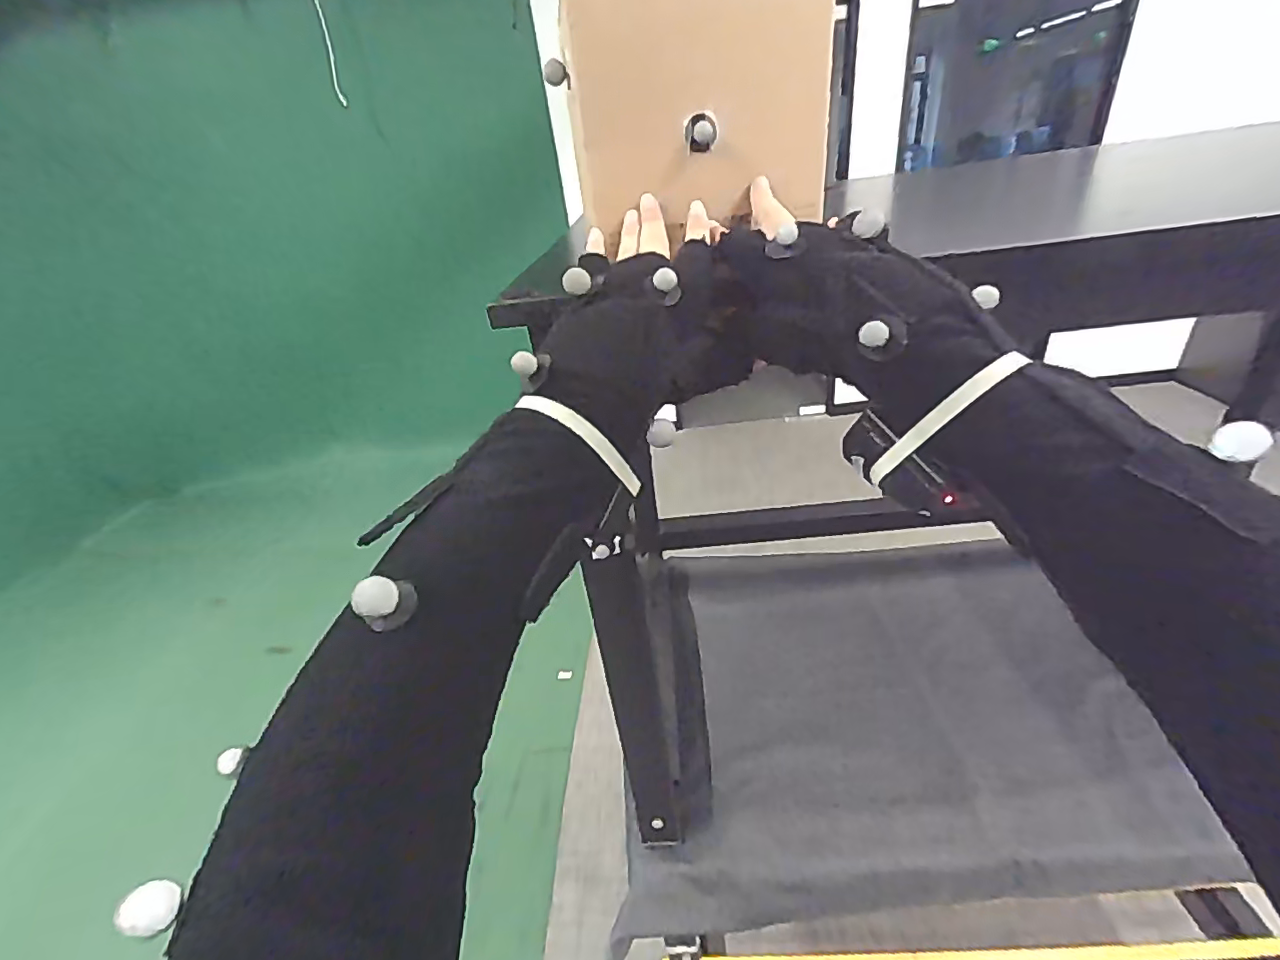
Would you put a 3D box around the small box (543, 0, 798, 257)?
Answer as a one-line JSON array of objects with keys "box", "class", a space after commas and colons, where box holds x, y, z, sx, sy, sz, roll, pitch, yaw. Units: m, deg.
[{"box": [0.022, -0.284, 0.436, 0.168, 0.176, 0.179, -9, 30, -3], "class": "small box"}]
